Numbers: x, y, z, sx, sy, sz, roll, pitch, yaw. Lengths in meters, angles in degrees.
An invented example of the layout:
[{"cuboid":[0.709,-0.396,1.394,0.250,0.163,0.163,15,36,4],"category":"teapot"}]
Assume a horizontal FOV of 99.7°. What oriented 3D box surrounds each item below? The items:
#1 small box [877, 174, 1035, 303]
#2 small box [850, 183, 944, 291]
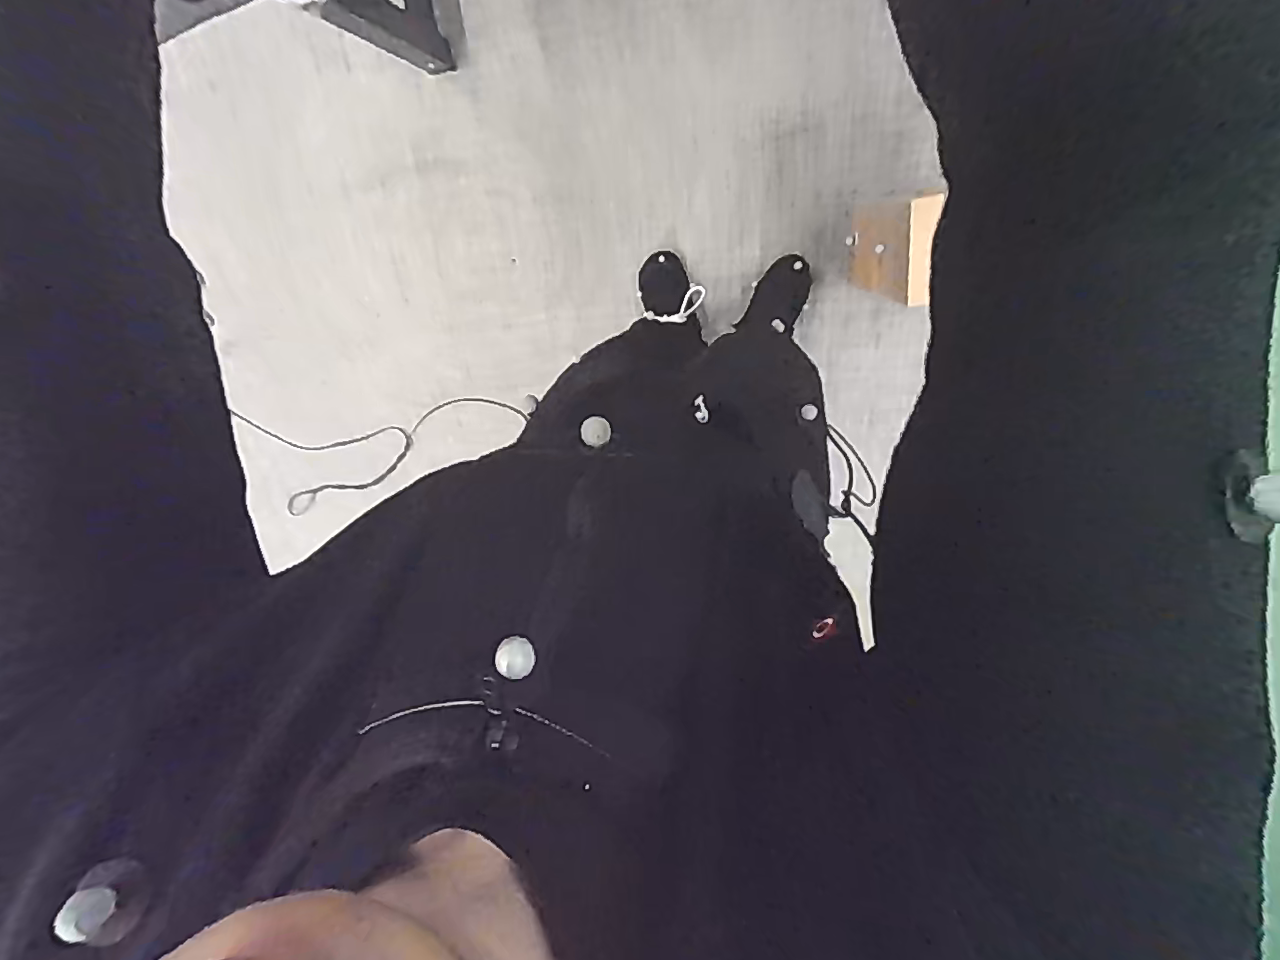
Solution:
[{"cuboid":[0.519,-0.409,0.914,0.179,0.176,0.168,-7,115,9],"category":"small box"},{"cuboid":[0.525,-0.479,1.062,0.179,0.176,0.168,-7,115,9],"category":"small box"}]
